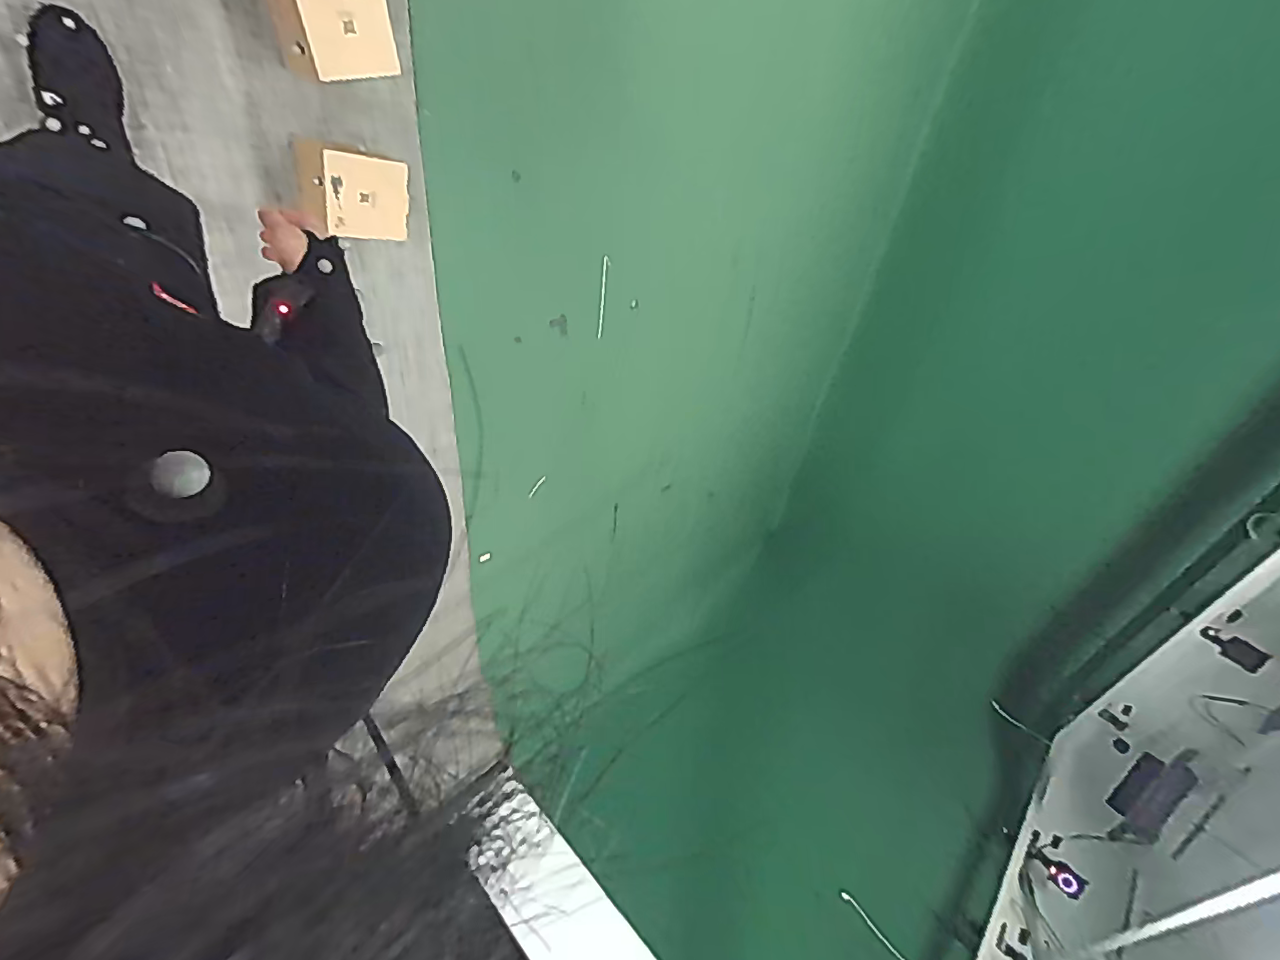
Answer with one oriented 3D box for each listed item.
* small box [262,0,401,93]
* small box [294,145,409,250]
[{"bbox_3d":[-0.599,-0.872,1.045,0.168,0.176,0.179,-34,143,-32],"label":"small box"},{"bbox_3d":[-0.645,-0.633,1.214,0.179,0.176,0.168,-19,135,-45],"label":"small box"}]
